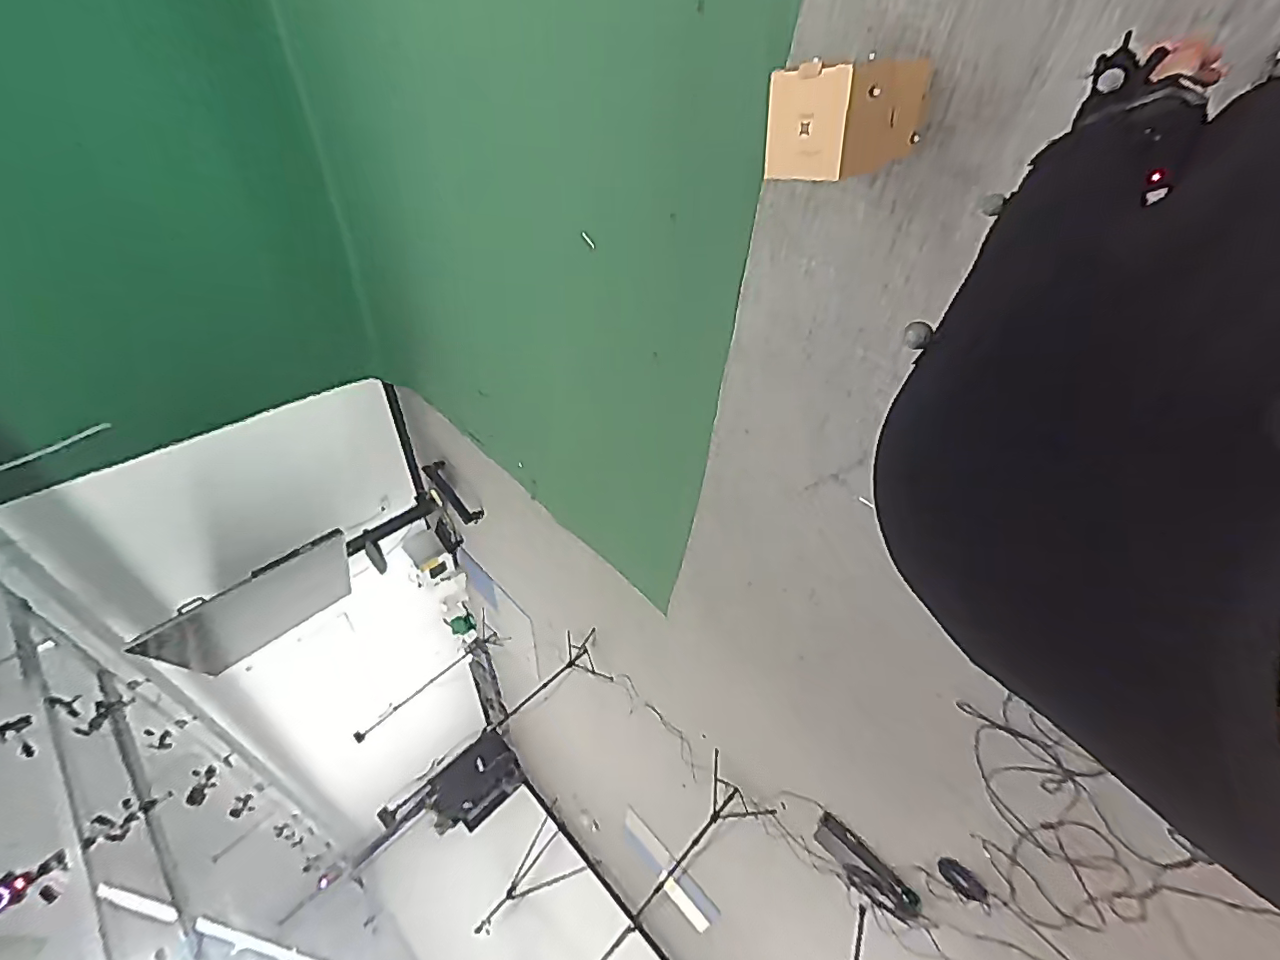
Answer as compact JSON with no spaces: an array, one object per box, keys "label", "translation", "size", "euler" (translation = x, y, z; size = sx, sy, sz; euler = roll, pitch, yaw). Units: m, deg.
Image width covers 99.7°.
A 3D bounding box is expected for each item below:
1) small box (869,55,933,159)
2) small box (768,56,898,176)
[{"label":"small box","translation":[0.474,-0.775,1.122],"size":[0.179,0.176,0.168],"euler":[30,138,36]},{"label":"small box","translation":[0.367,-0.693,1.032],"size":[0.168,0.176,0.179],"euler":[28,138,38]}]
